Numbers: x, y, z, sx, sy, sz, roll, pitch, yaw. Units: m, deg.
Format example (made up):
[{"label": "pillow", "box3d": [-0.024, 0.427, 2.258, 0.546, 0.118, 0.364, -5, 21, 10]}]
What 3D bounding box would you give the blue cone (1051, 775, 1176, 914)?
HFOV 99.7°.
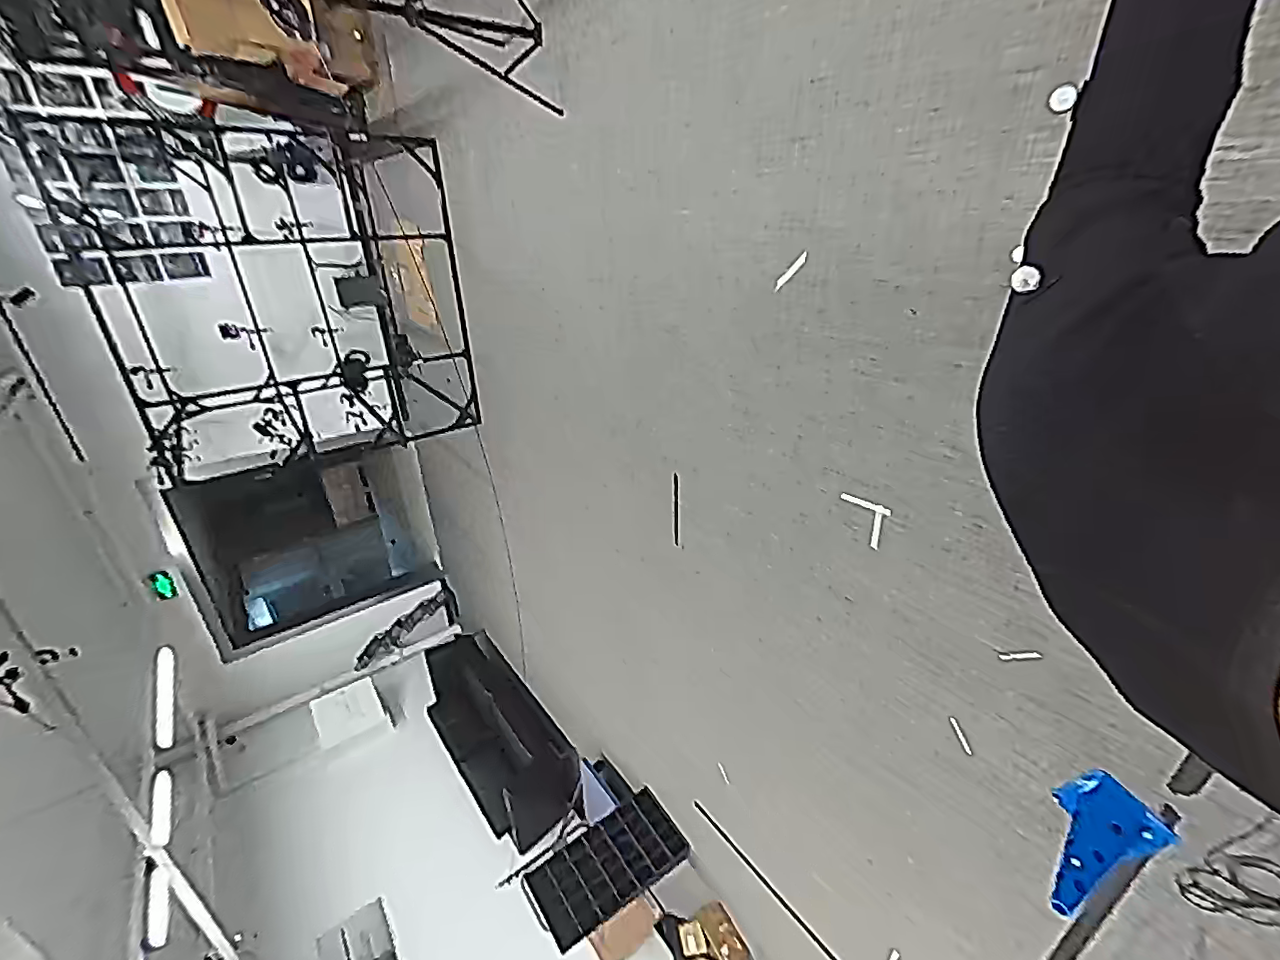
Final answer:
[{"label": "blue cone", "box3d": [1.129, 0.935, 1.348, 0.193, 0.380, 0.192, 49, 143, 31]}]
